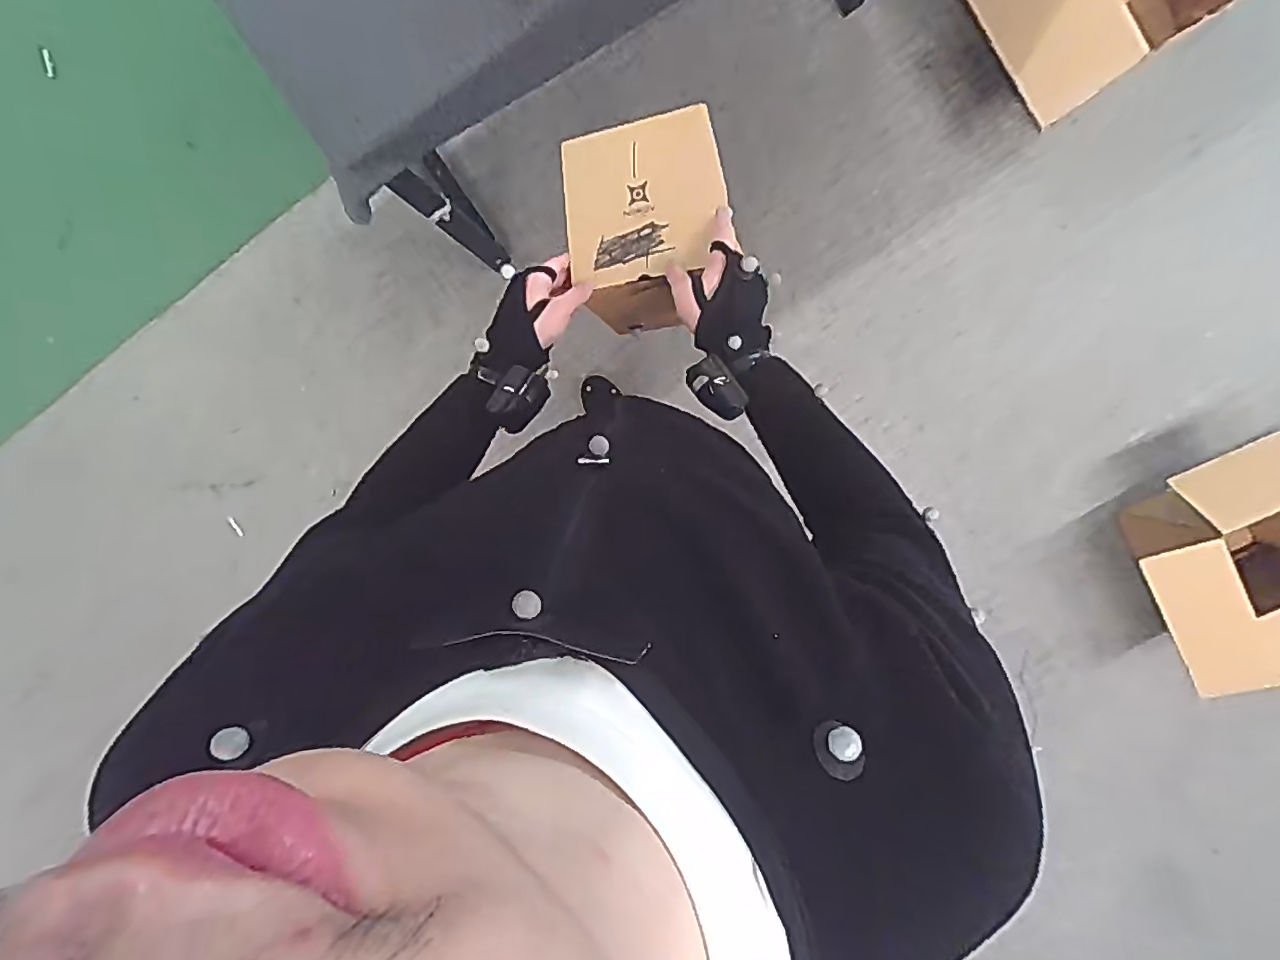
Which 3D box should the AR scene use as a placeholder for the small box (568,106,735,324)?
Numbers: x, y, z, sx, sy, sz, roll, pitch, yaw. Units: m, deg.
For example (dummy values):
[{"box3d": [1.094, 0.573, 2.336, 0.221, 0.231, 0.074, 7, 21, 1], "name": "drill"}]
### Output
[{"box3d": [0.023, -0.301, 0.662, 0.168, 0.176, 0.179, -5, 88, 14], "name": "small box"}]
